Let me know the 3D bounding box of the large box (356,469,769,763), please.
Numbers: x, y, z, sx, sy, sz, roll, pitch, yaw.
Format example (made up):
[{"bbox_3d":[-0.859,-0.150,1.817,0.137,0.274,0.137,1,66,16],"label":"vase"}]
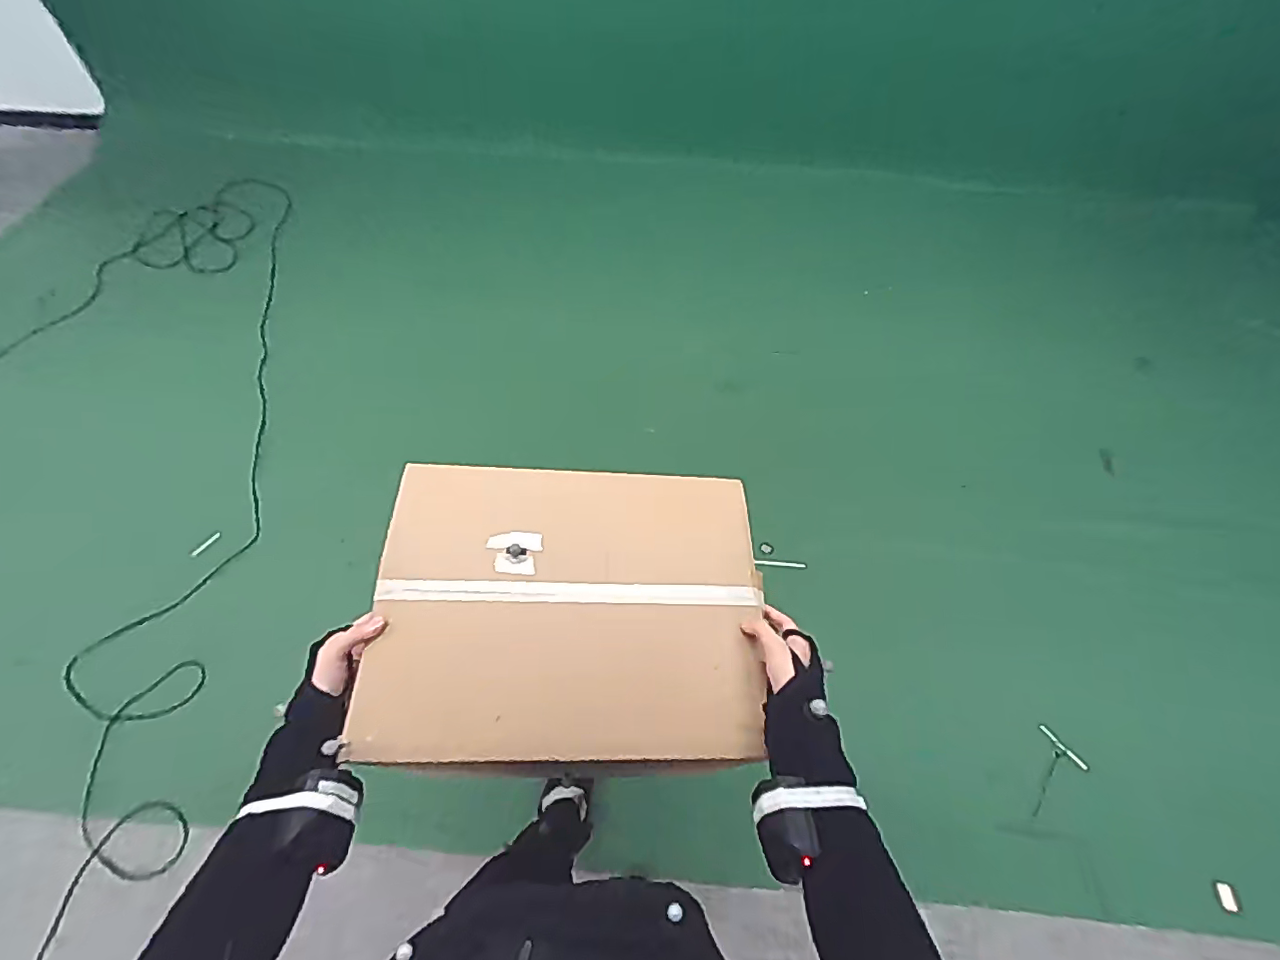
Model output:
[{"bbox_3d":[-0.082,0.200,0.720,0.408,0.320,0.320,3,59,-5],"label":"large box"}]
